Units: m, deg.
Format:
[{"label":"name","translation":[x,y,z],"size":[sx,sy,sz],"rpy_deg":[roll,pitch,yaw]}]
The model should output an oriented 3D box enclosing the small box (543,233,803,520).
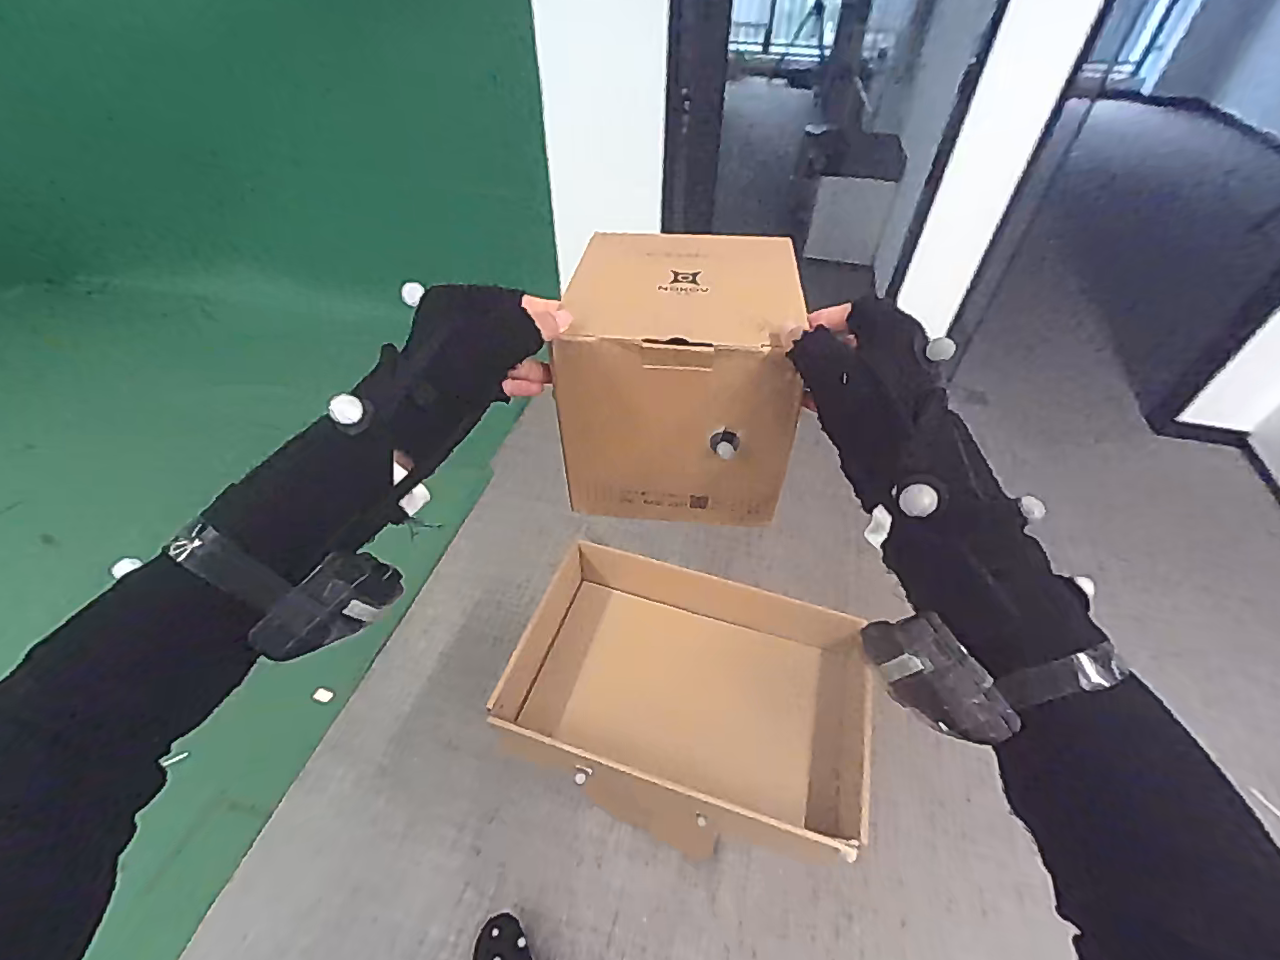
[{"label":"small box","translation":[0.028,-0.085,0.447],"size":[0.168,0.176,0.179],"rpy_deg":[5,43,4]}]
